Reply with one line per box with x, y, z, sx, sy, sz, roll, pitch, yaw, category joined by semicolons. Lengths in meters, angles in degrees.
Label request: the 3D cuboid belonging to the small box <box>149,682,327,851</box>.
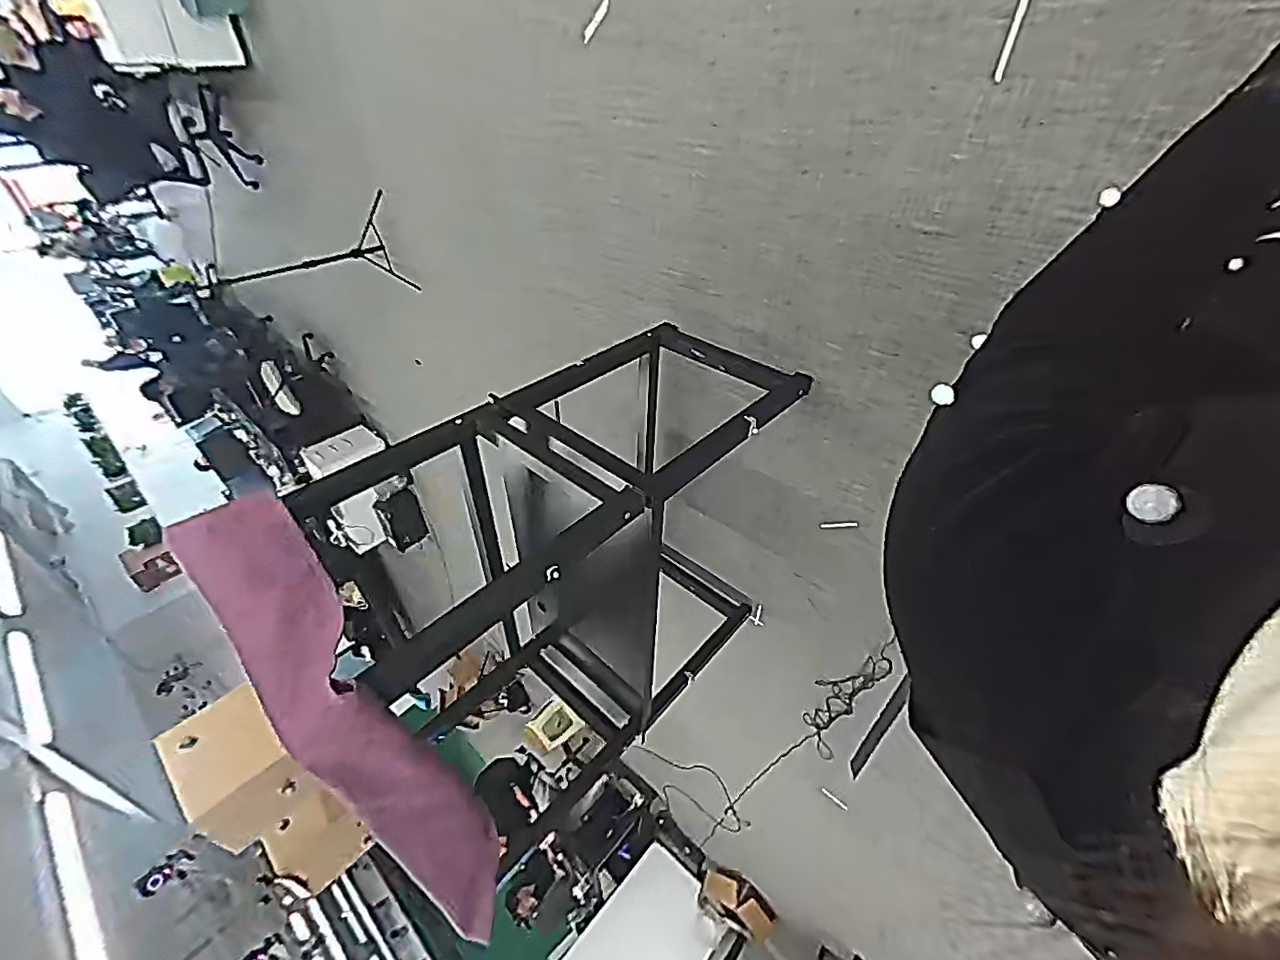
-0.678;0.479;0.929;0.179;0.176;0.168;34;141;28;small box

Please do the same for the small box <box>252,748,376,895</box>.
-0.694;0.722;1.155;0.179;0.176;0.168;28;137;35;small box
